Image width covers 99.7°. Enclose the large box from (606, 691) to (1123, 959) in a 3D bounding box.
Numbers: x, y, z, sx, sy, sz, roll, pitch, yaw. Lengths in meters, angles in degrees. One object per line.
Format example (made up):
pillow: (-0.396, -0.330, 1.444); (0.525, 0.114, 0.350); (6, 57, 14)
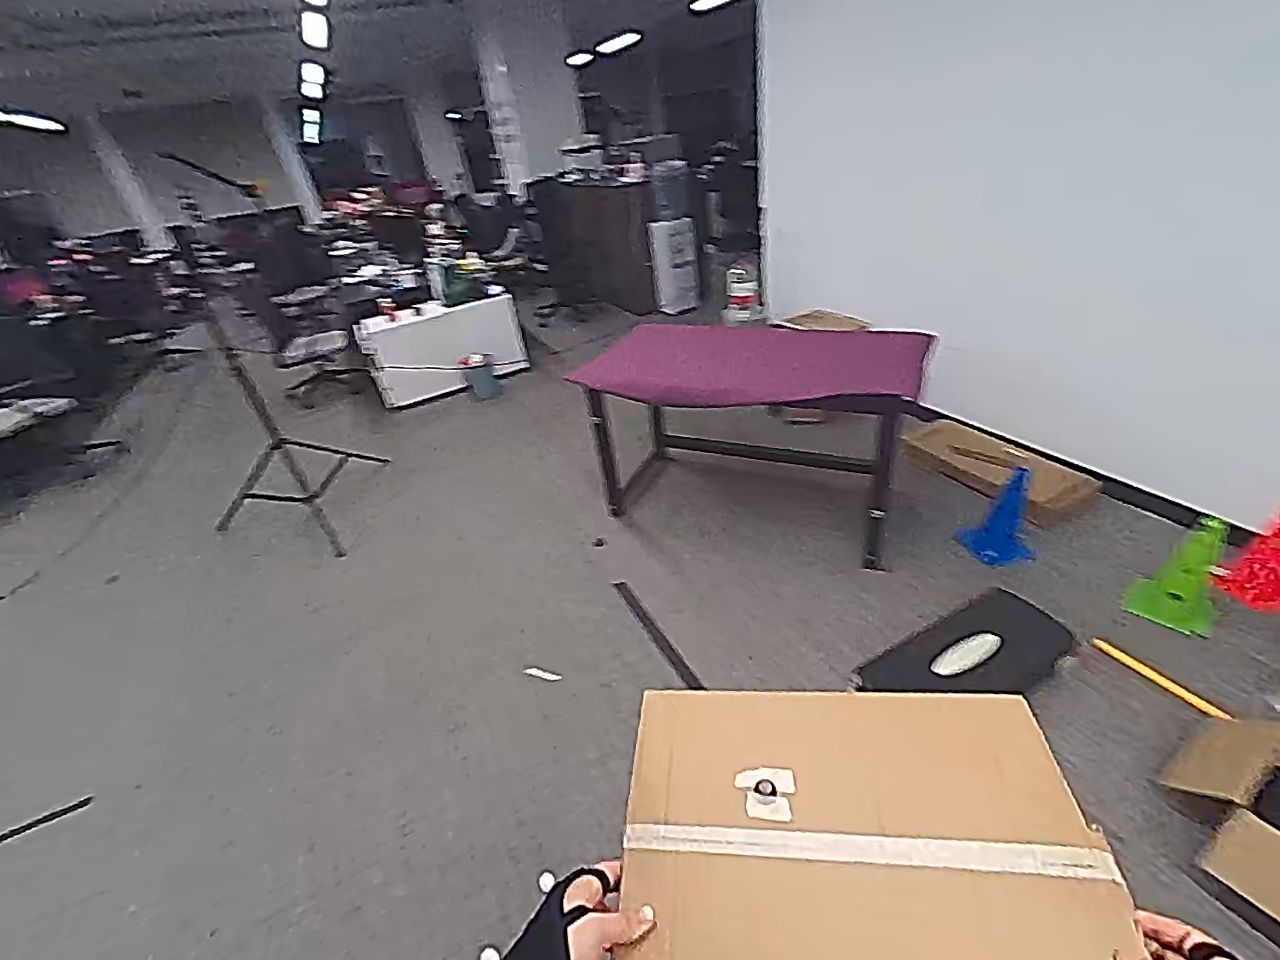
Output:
large box: (0.204, 0.455, 0.578); (0.408, 0.320, 0.320); (-6, 35, 12)
